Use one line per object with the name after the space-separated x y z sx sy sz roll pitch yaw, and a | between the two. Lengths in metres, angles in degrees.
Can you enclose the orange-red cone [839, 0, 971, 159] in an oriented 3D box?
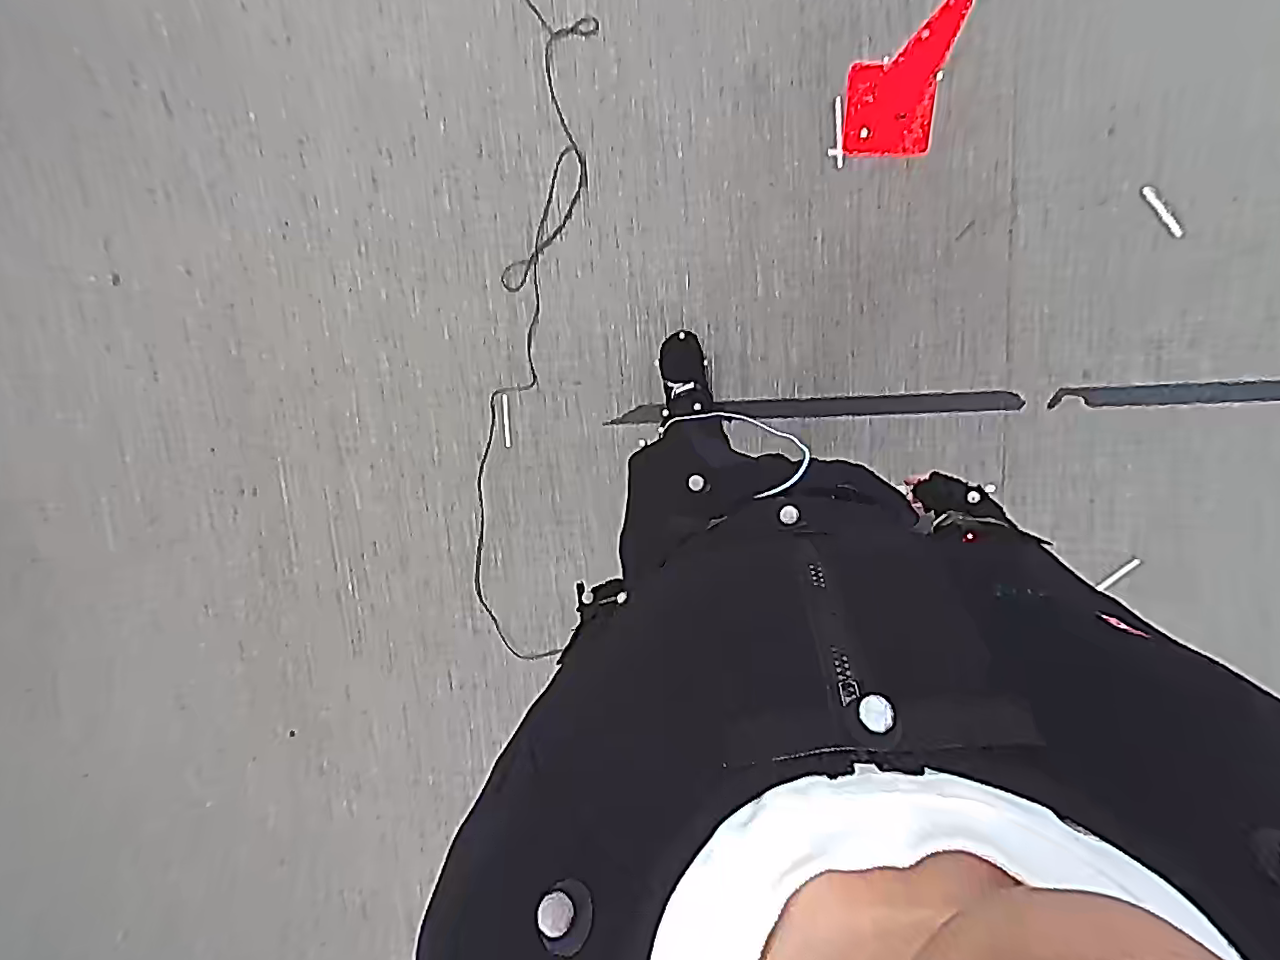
0.557 -0.829 1.083 0.199 0.360 0.198 5 99 4 | orange-red cone
